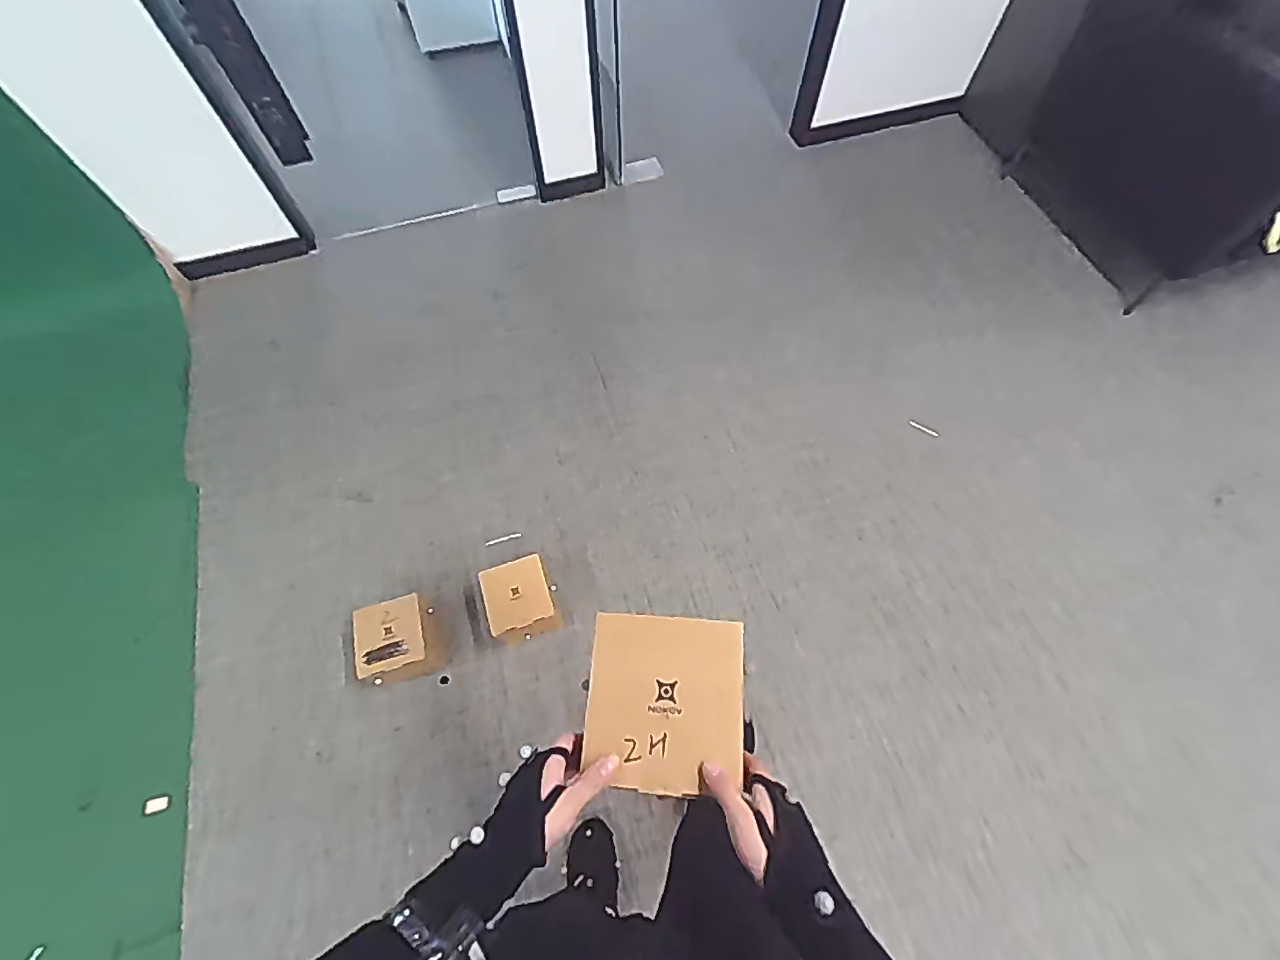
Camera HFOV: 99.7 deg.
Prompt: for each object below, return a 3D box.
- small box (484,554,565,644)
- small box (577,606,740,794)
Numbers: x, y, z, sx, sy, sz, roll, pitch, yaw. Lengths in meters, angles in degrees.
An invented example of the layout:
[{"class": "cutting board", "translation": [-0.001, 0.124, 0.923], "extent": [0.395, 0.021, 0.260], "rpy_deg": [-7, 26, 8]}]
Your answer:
[{"class": "small box", "translation": [-0.312, 0.330, 1.479], "extent": [0.168, 0.176, 0.179], "rpy_deg": [-18, 66, -7]}, {"class": "small box", "translation": [0.029, 0.261, 0.651], "extent": [0.168, 0.176, 0.179], "rpy_deg": [3, 67, 7]}]
